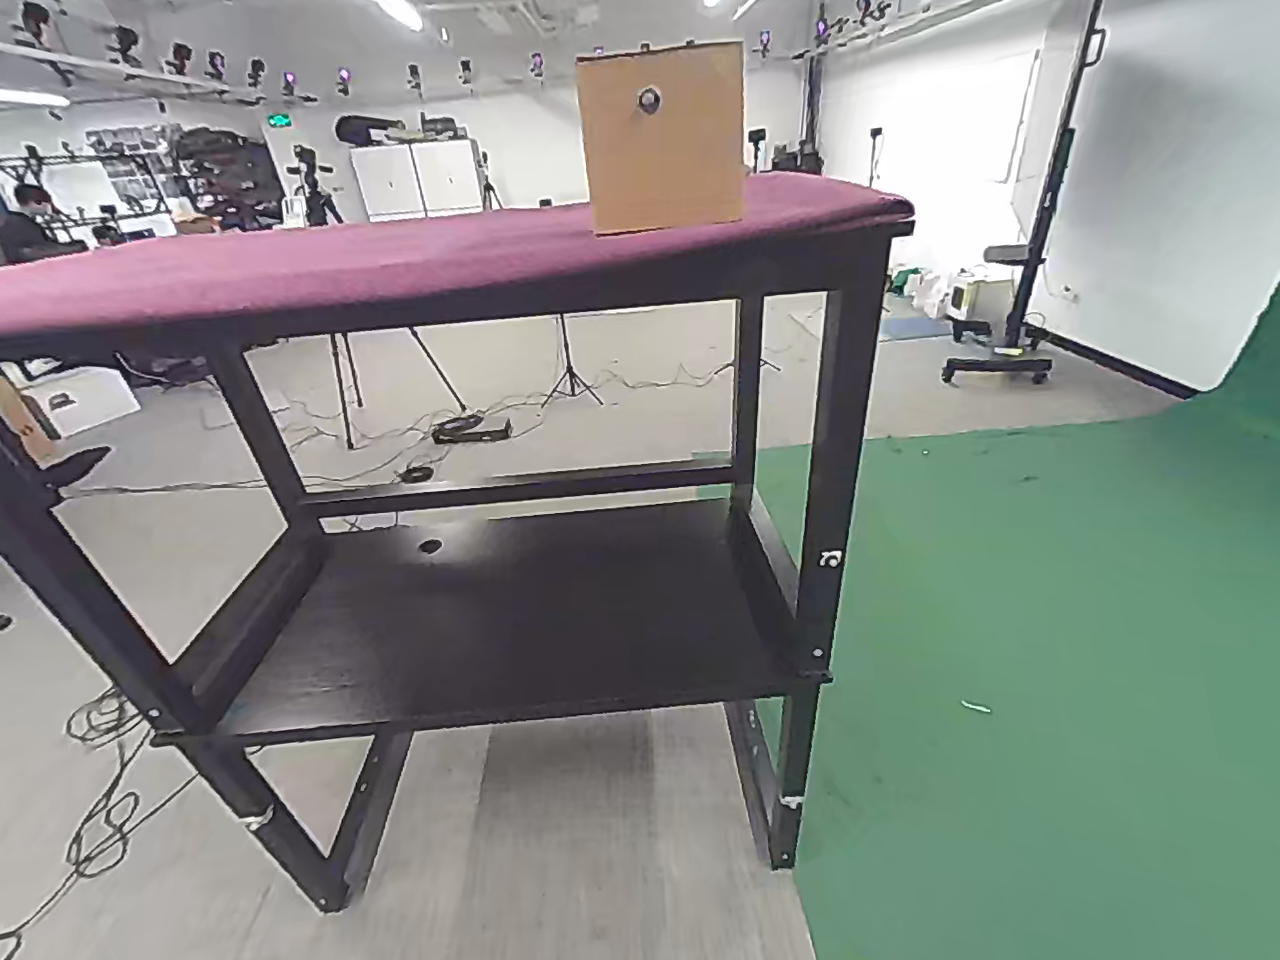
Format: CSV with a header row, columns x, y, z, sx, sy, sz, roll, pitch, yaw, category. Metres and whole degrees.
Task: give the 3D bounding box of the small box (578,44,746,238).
x,y,z,sx,sy,sz,roll,pitch,yaw,category
0.034,-0.395,0.654,0.179,0.176,0.168,-2,30,5,small box
